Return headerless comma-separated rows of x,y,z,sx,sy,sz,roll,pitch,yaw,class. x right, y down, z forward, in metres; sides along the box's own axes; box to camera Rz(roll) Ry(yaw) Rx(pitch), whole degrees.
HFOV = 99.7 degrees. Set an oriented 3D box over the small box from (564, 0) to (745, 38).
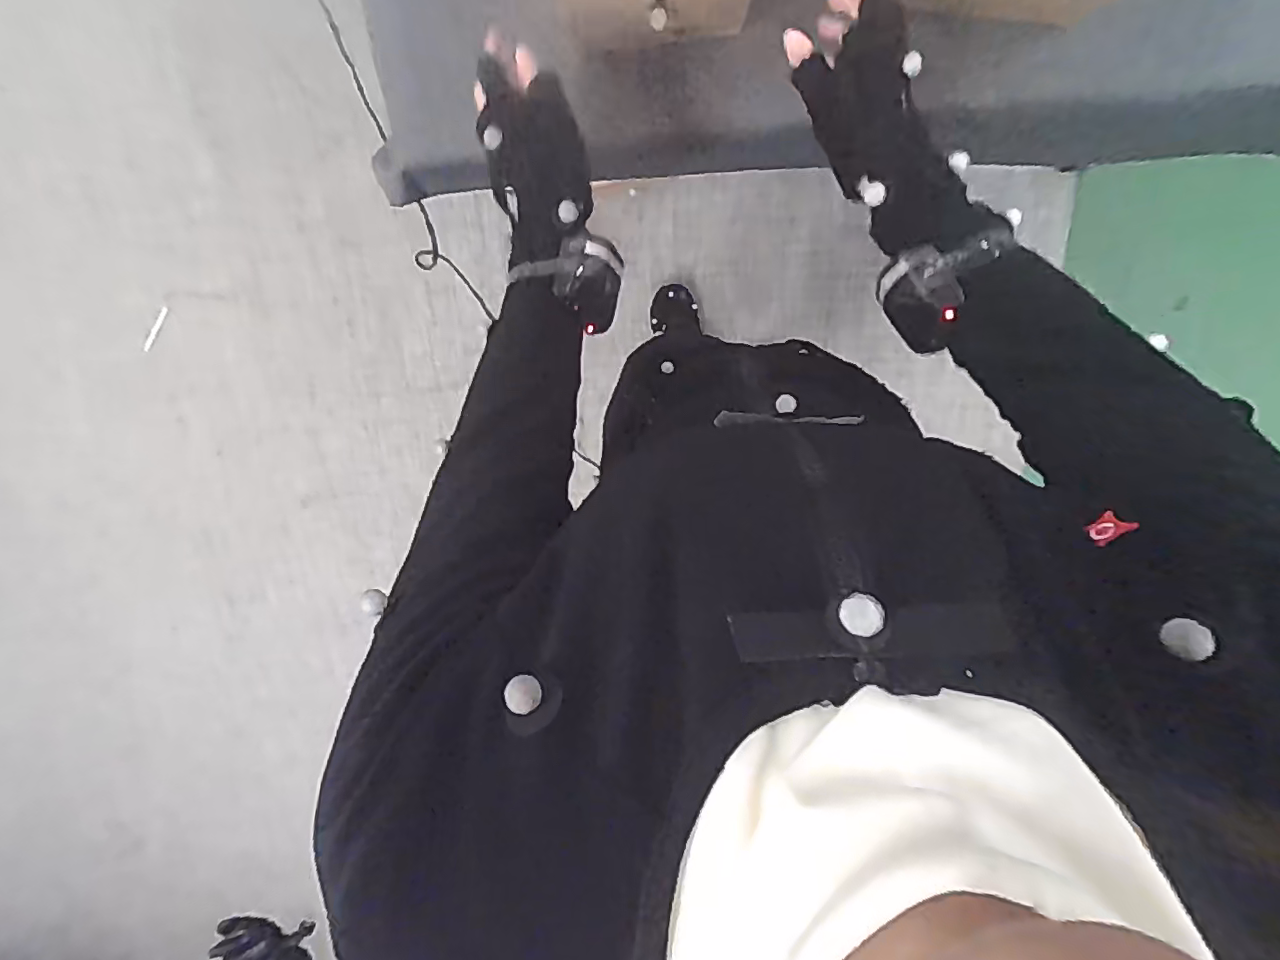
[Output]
0.009,-0.491,0.433,0.168,0.176,0.179,-4,110,4,small box
